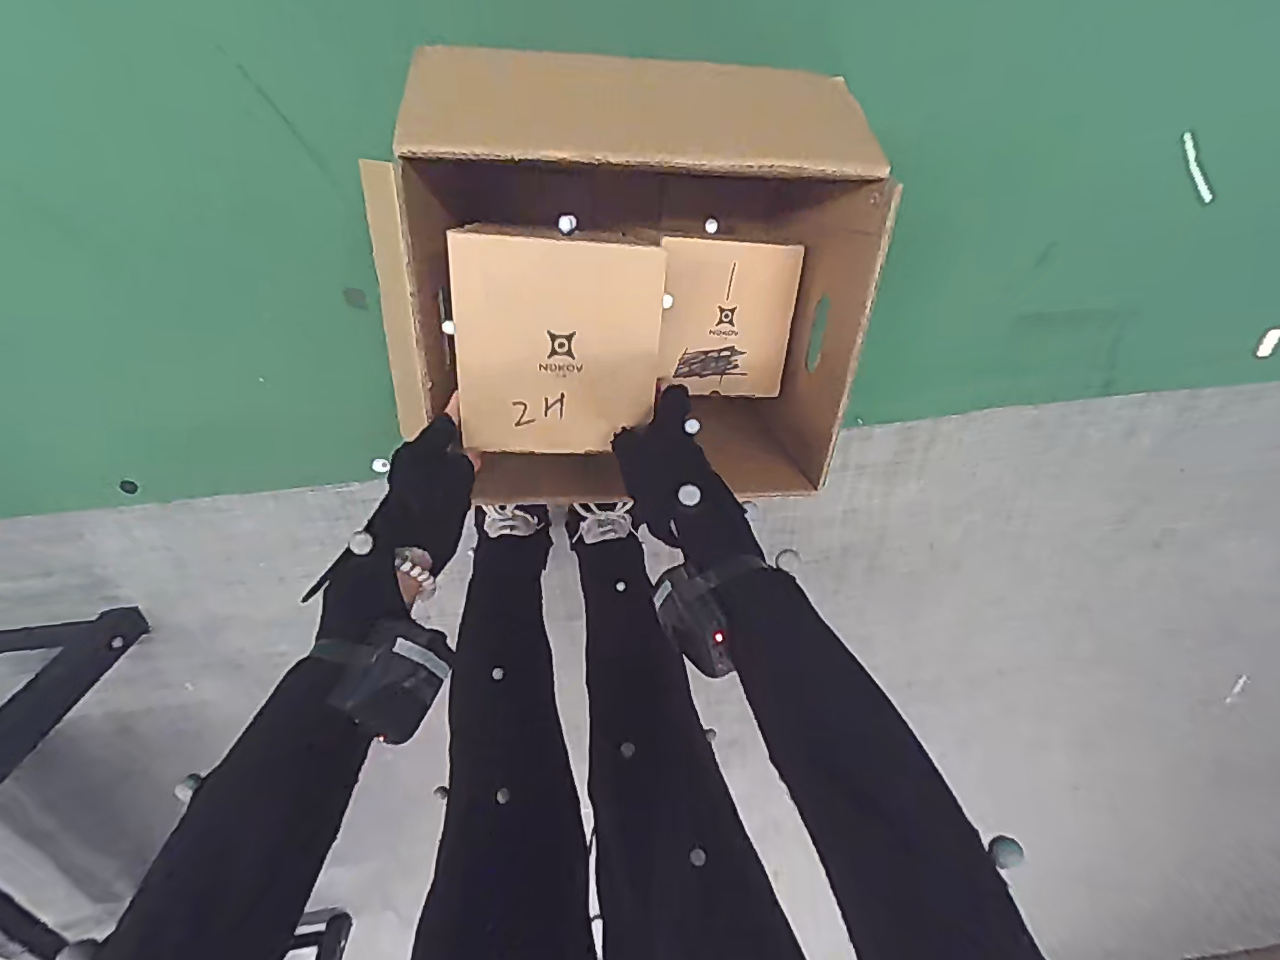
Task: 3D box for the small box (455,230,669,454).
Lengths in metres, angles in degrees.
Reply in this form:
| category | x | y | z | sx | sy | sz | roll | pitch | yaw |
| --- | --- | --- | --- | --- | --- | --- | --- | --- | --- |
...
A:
| category | x | y | z | sx | sy | sz | roll | pitch | yaw |
| --- | --- | --- | --- | --- | --- | --- | --- | --- | --- |
| small box | -0.076 | -0.136 | 0.513 | 0.168 | 0.176 | 0.179 | 0 | 115 | -9 |
